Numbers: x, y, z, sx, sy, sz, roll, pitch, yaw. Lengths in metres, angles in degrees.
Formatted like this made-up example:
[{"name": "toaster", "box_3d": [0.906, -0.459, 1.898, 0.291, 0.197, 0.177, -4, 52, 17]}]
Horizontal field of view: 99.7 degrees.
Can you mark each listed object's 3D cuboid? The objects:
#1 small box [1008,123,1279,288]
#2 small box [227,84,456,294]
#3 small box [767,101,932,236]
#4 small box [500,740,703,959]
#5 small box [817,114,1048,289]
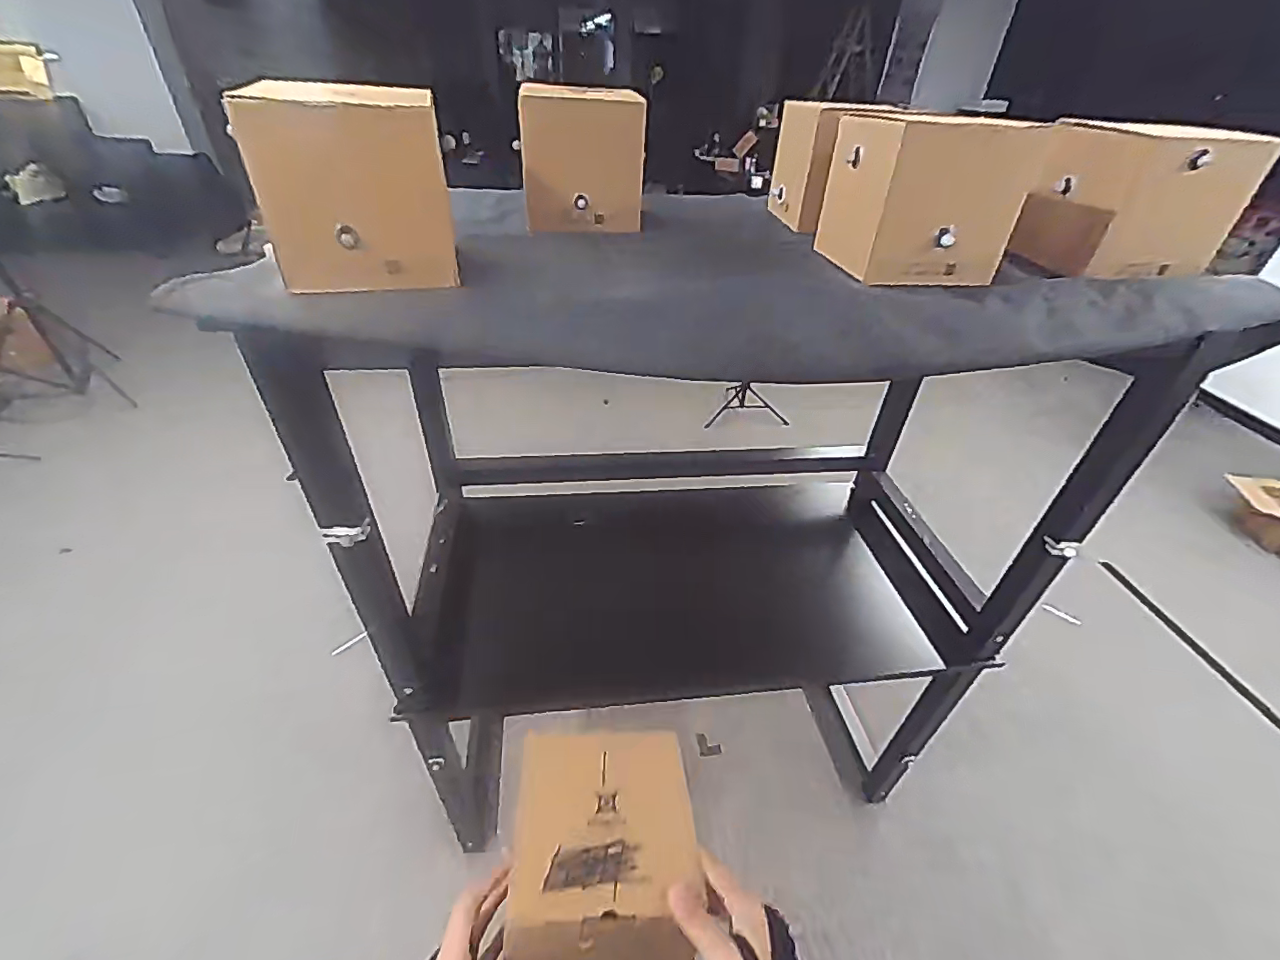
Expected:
[{"name": "small box", "box_3d": [0.646, -0.369, 0.725, 0.168, 0.176, 0.179, -1, 37, -4]}, {"name": "small box", "box_3d": [-0.296, -0.311, 0.582, 0.168, 0.176, 0.179, -8, 40, -15]}, {"name": "small box", "box_3d": [0.324, -0.502, 0.876, 0.179, 0.176, 0.168, -1, 37, -6]}, {"name": "small box", "box_3d": [-0.042, 0.391, 0.537, 0.168, 0.176, 0.179, 3, 26, -7]}, {"name": "small box", "box_3d": [0.341, -0.350, 0.677, 0.168, 0.176, 0.179, -2, 37, -5]}]
